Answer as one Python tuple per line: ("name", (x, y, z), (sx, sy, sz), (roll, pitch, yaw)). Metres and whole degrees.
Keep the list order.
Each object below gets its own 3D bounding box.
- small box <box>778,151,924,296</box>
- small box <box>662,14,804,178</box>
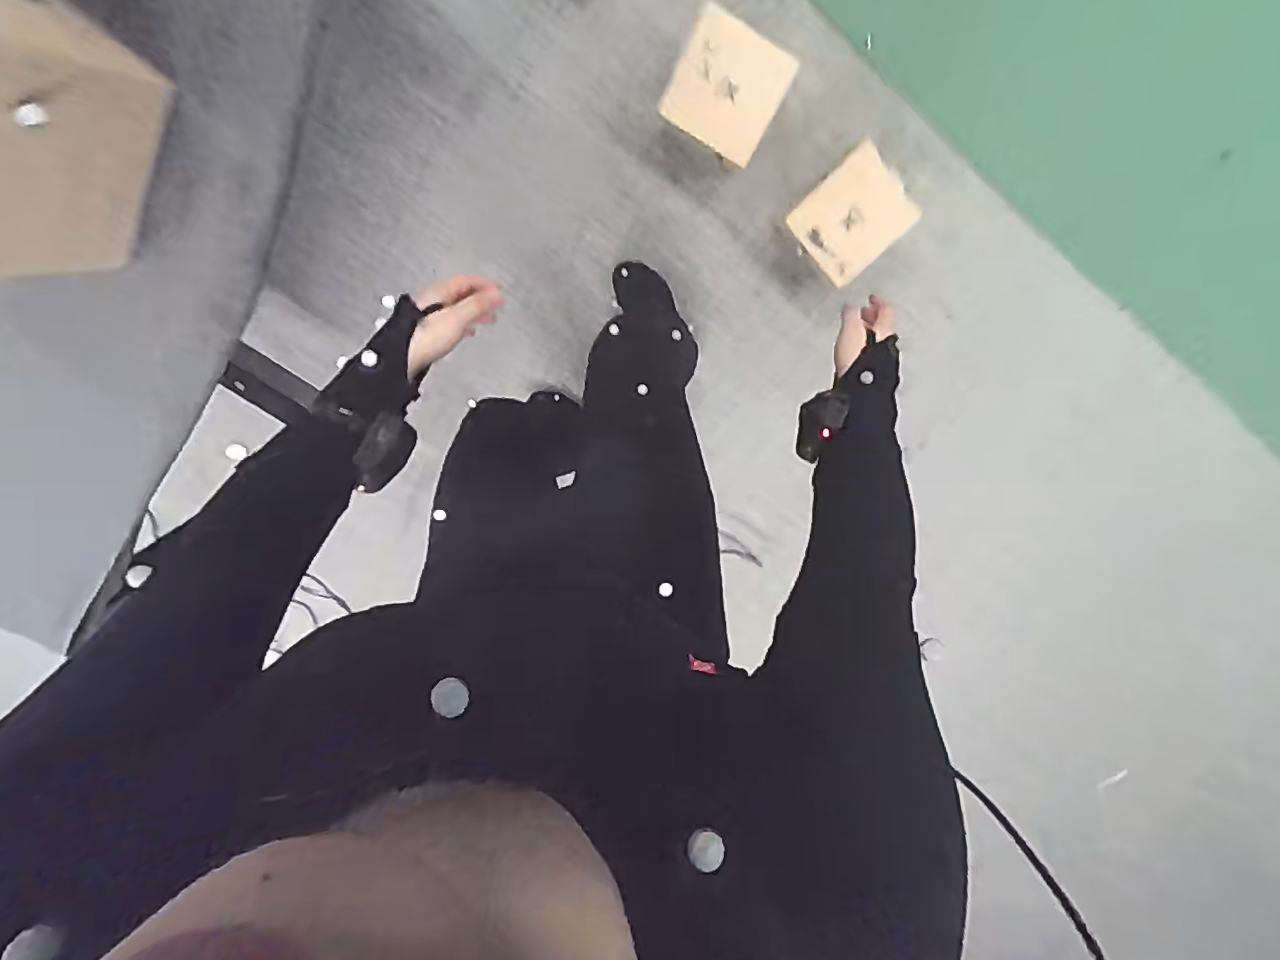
("small box", (0.384, -0.480, 1.018), (0.179, 0.176, 0.168), (-40, 107, 22))
("small box", (0.156, -0.657, 0.952), (0.179, 0.176, 0.168), (28, 115, -8))
